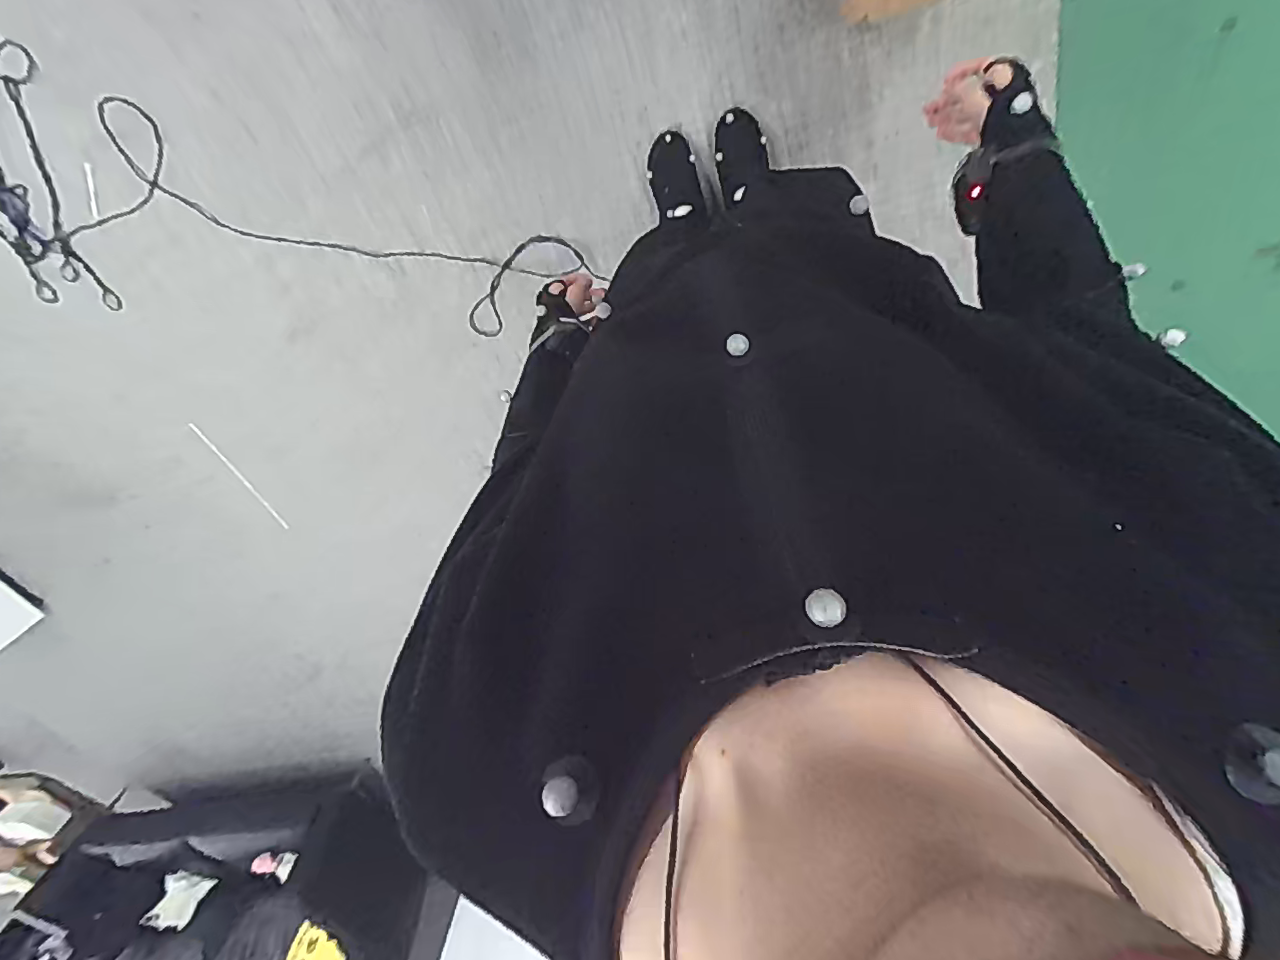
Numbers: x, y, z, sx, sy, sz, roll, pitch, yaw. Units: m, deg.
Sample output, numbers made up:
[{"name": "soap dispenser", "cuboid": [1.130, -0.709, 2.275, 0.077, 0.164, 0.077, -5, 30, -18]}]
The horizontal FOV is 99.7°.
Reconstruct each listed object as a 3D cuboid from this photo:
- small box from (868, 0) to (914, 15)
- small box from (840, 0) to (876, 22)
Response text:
[{"name": "small box", "cuboid": [0.435, -0.838, 0.804, 0.168, 0.176, 0.179, -14, 124, 16]}, {"name": "small box", "cuboid": [0.445, -0.931, 0.935, 0.179, 0.176, 0.168, -12, 123, 14]}]
